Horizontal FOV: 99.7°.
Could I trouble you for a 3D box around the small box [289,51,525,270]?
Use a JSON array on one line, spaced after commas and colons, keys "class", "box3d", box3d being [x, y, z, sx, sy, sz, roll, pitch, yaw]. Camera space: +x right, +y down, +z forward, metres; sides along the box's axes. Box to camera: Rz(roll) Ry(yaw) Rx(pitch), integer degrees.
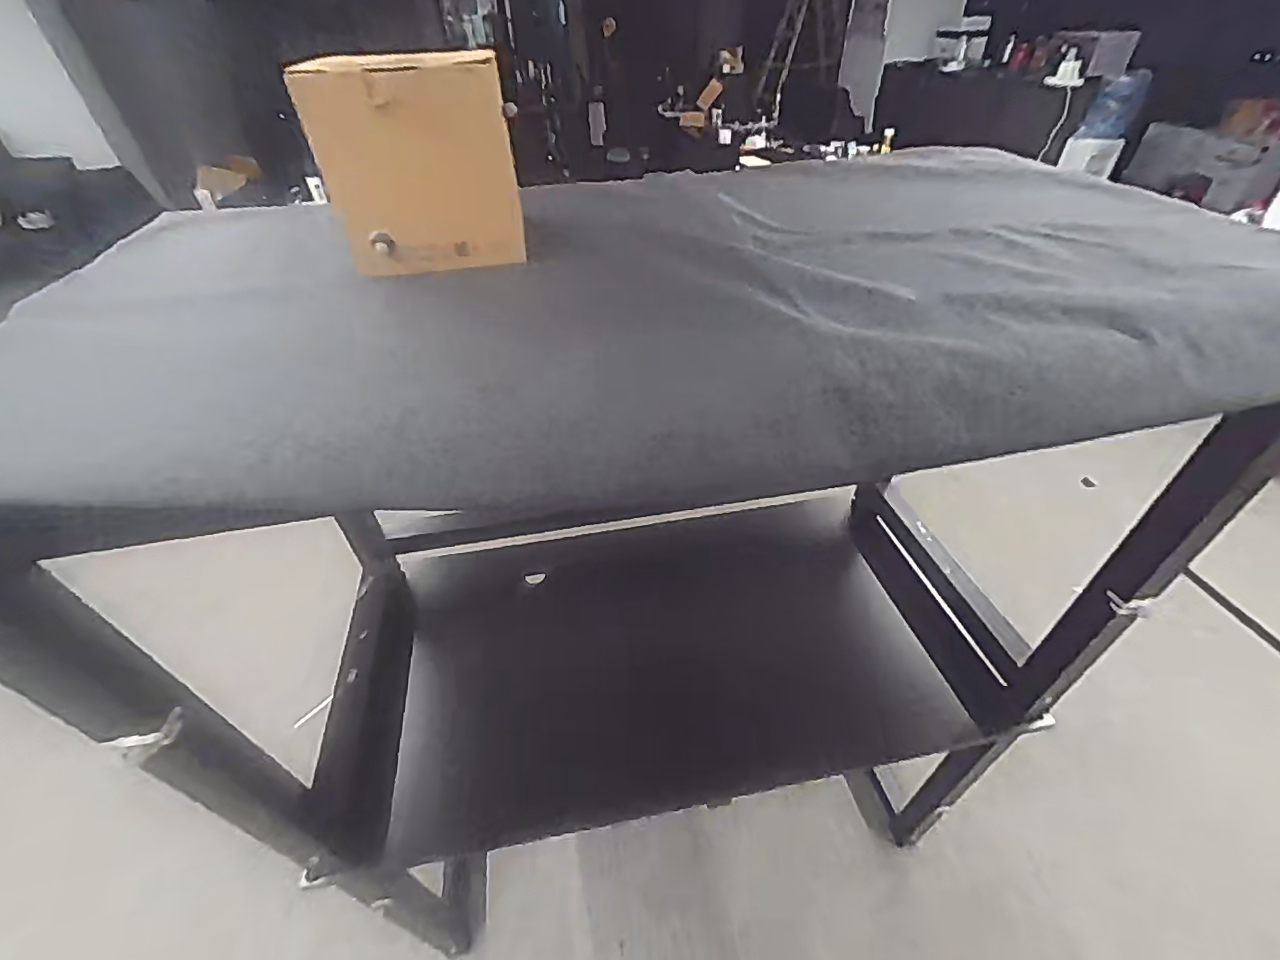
[{"class": "small box", "box3d": [-0.215, -0.325, 0.557, 0.168, 0.176, 0.179, -8, 41, -6]}]
